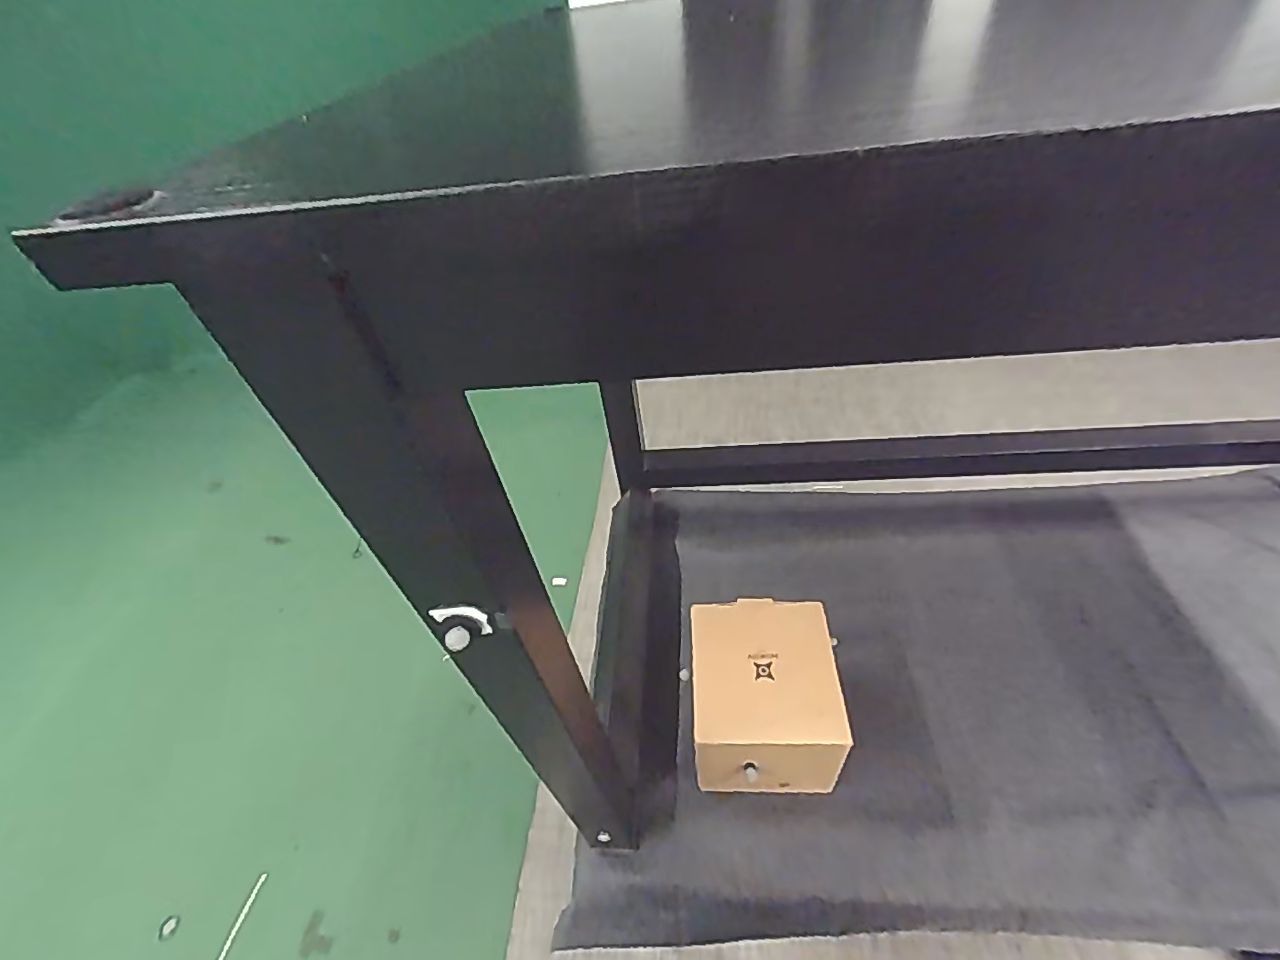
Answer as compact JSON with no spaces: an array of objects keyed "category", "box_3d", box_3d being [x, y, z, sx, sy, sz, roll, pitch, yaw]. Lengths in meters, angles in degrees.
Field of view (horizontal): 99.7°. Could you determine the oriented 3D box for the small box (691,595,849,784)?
[{"category":"small box","box_3d":[0.152,0.267,0.682,0.168,0.176,0.179,-3,43,6]}]
